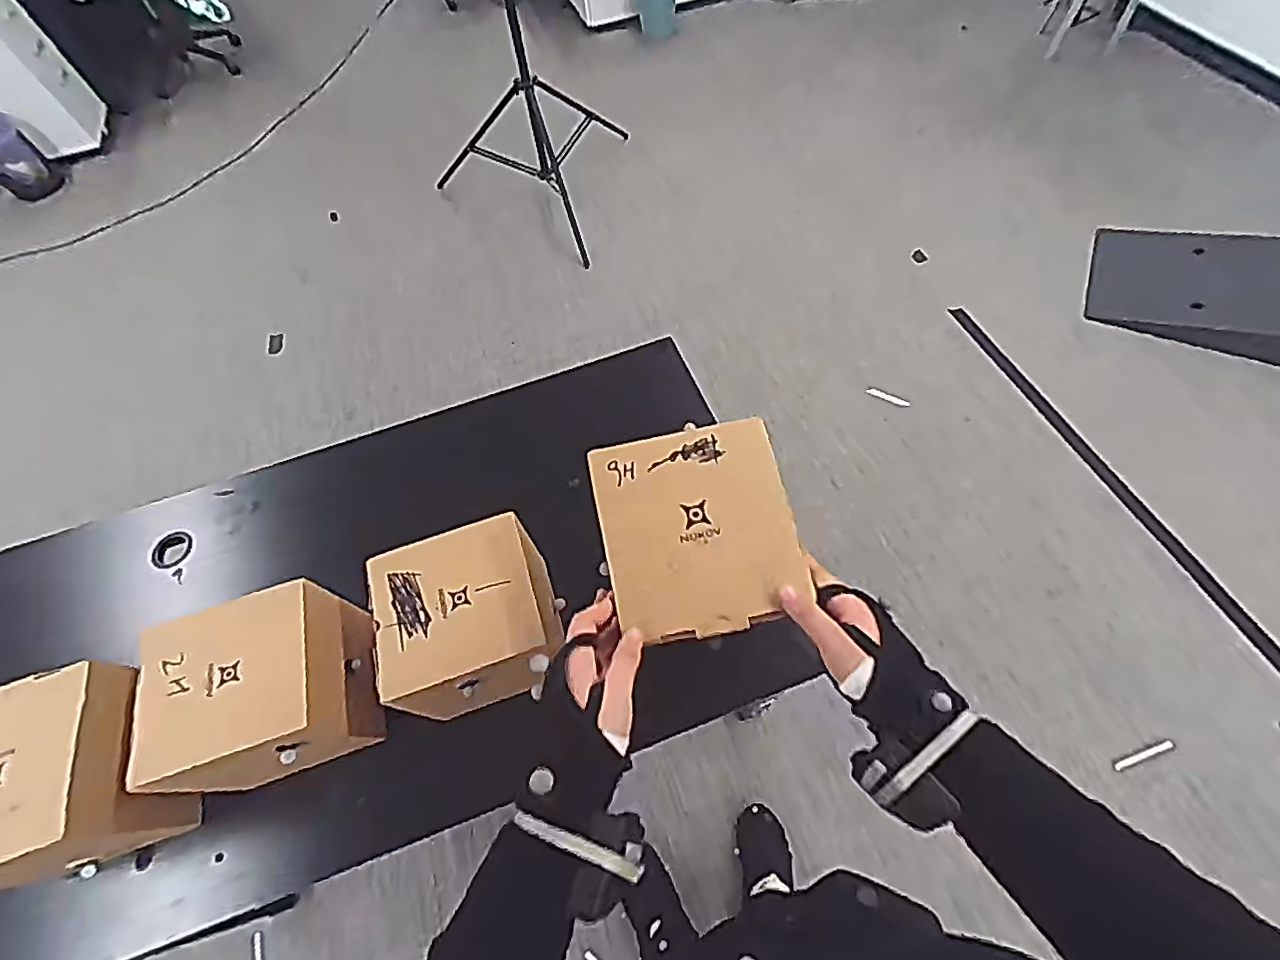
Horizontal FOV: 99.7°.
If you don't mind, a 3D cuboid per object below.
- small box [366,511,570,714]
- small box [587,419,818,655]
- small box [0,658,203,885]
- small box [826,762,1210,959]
[{"bbox_3d":[-0.198,0.166,0.650,0.179,0.176,0.168,-18,62,-6],"label":"small box"},{"bbox_3d":[0.052,0.062,0.531,0.168,0.176,0.179,-12,75,-1],"label":"small box"},{"bbox_3d":[-0.628,0.323,0.597,0.168,0.176,0.179,-20,62,-5],"label":"small box"},{"bbox_3d":[0.254,0.312,0.363,0.179,0.176,0.168,-16,73,45],"label":"small box"}]
